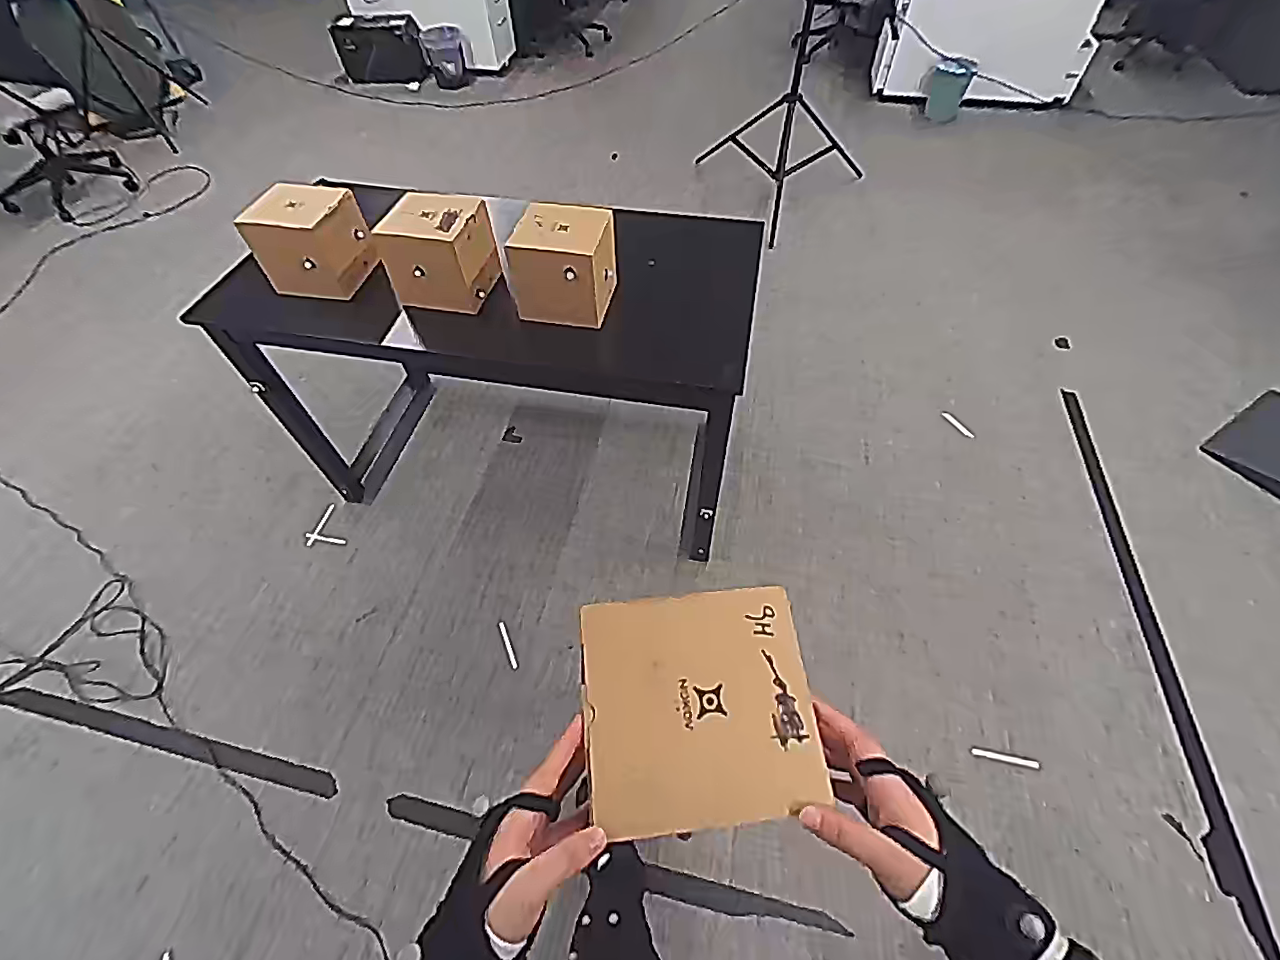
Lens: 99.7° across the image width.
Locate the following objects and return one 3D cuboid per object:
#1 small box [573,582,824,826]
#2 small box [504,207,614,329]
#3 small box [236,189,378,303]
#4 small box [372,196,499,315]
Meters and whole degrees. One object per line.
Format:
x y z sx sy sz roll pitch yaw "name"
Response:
0.038 0.201 0.489 0.179 0.176 0.168 -5 64 -5 "small box"
-0.154 -0.432 1.112 0.179 0.176 0.168 8 54 8 "small box"
-0.711 -0.507 1.181 0.179 0.176 0.168 6 54 6 "small box"
-0.420 -0.471 1.147 0.179 0.176 0.168 9 55 9 "small box"
